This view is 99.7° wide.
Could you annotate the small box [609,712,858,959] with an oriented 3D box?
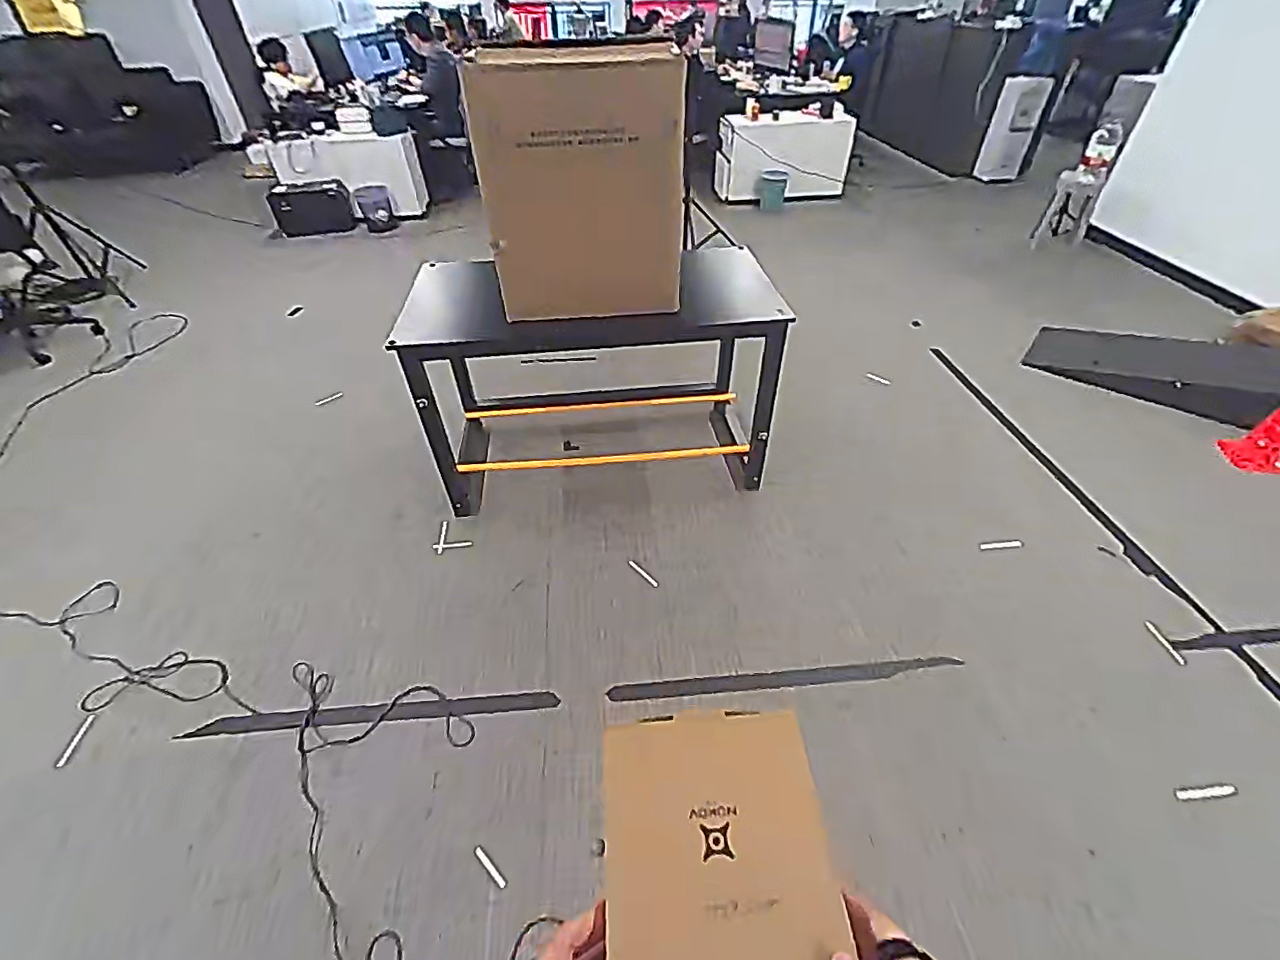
[{"bbox_3d":[0.059,0.319,0.458,0.168,0.176,0.179,-3,47,-1],"label":"small box"}]
